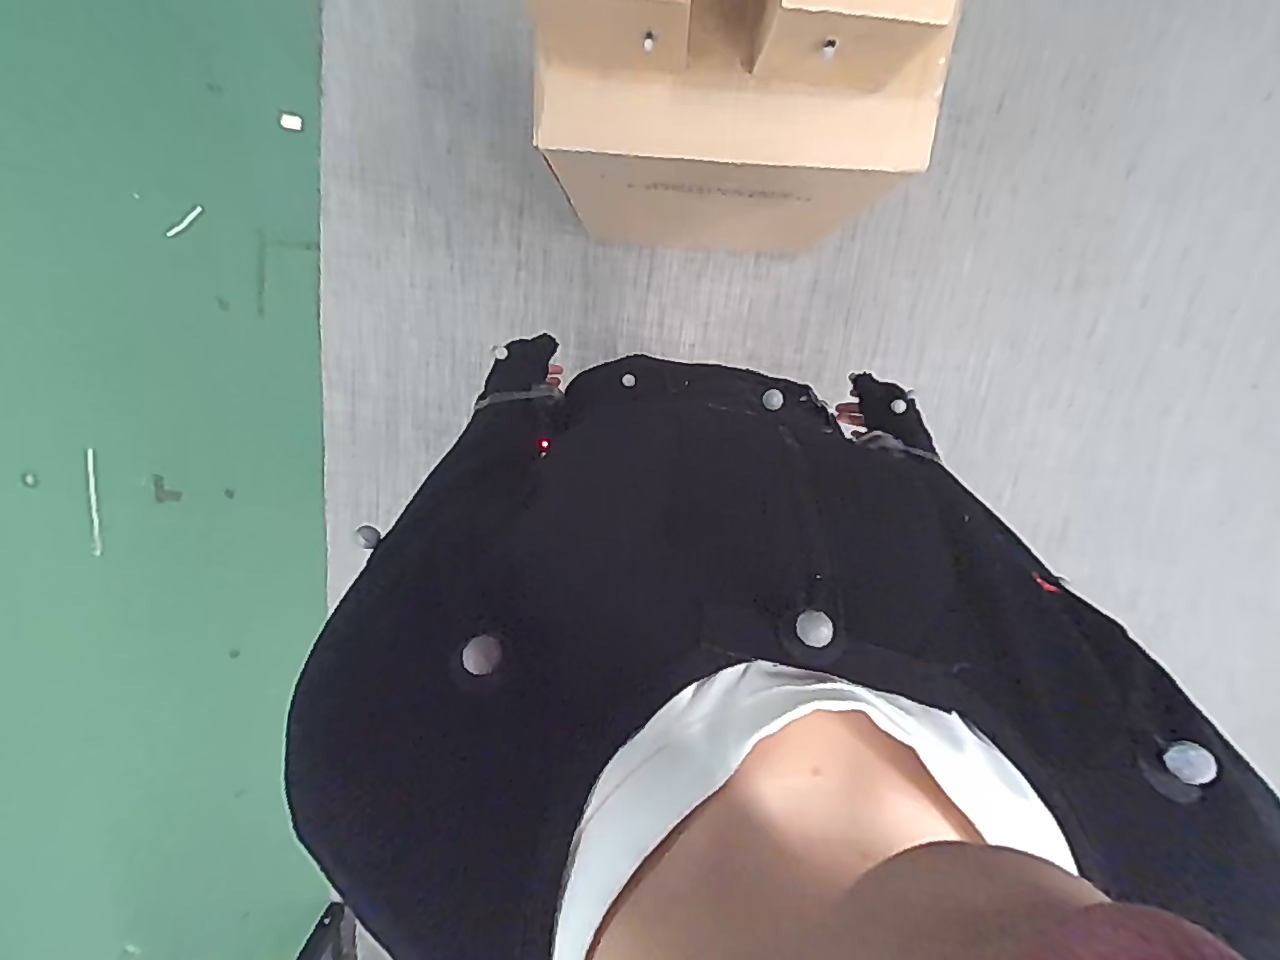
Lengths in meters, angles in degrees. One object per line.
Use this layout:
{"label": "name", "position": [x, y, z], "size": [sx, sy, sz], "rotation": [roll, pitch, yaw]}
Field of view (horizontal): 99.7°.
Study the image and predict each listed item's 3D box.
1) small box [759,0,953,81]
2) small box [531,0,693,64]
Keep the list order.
{"label": "small box", "position": [0.238, -0.573, 0.597], "size": [0.179, 0.176, 0.168], "rotation": [6, 107, 1]}
{"label": "small box", "position": [-0.023, -0.595, 0.600], "size": [0.179, 0.176, 0.168], "rotation": [4, 106, 2]}
